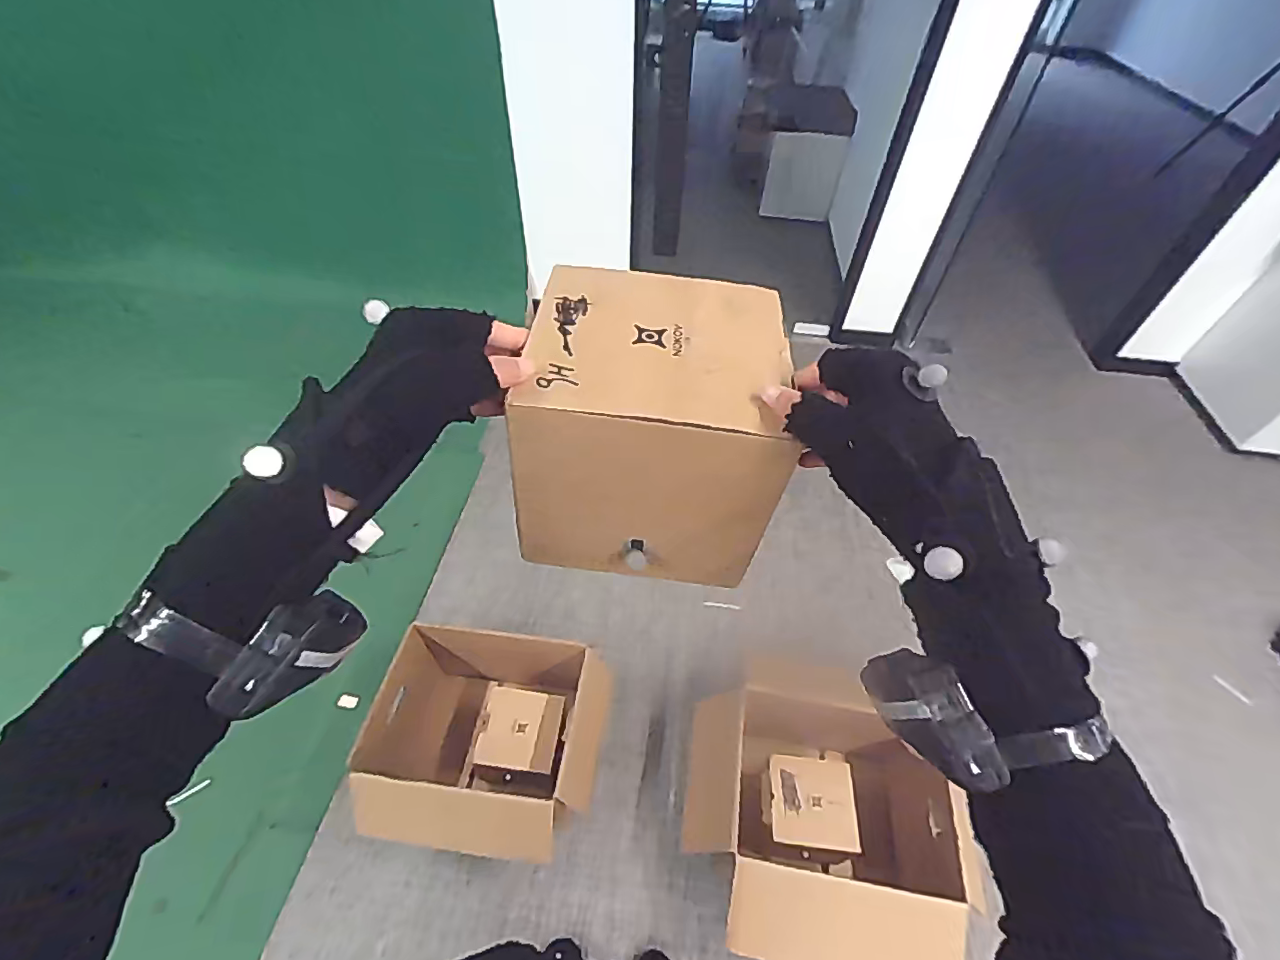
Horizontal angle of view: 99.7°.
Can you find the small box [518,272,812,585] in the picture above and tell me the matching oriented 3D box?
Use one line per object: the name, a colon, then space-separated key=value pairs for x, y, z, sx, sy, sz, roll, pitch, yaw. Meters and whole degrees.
small box: x=0.011 y=-0.034 z=0.423 sx=0.179 sy=0.176 sz=0.168 roll=7 pitch=47 yaw=-3
